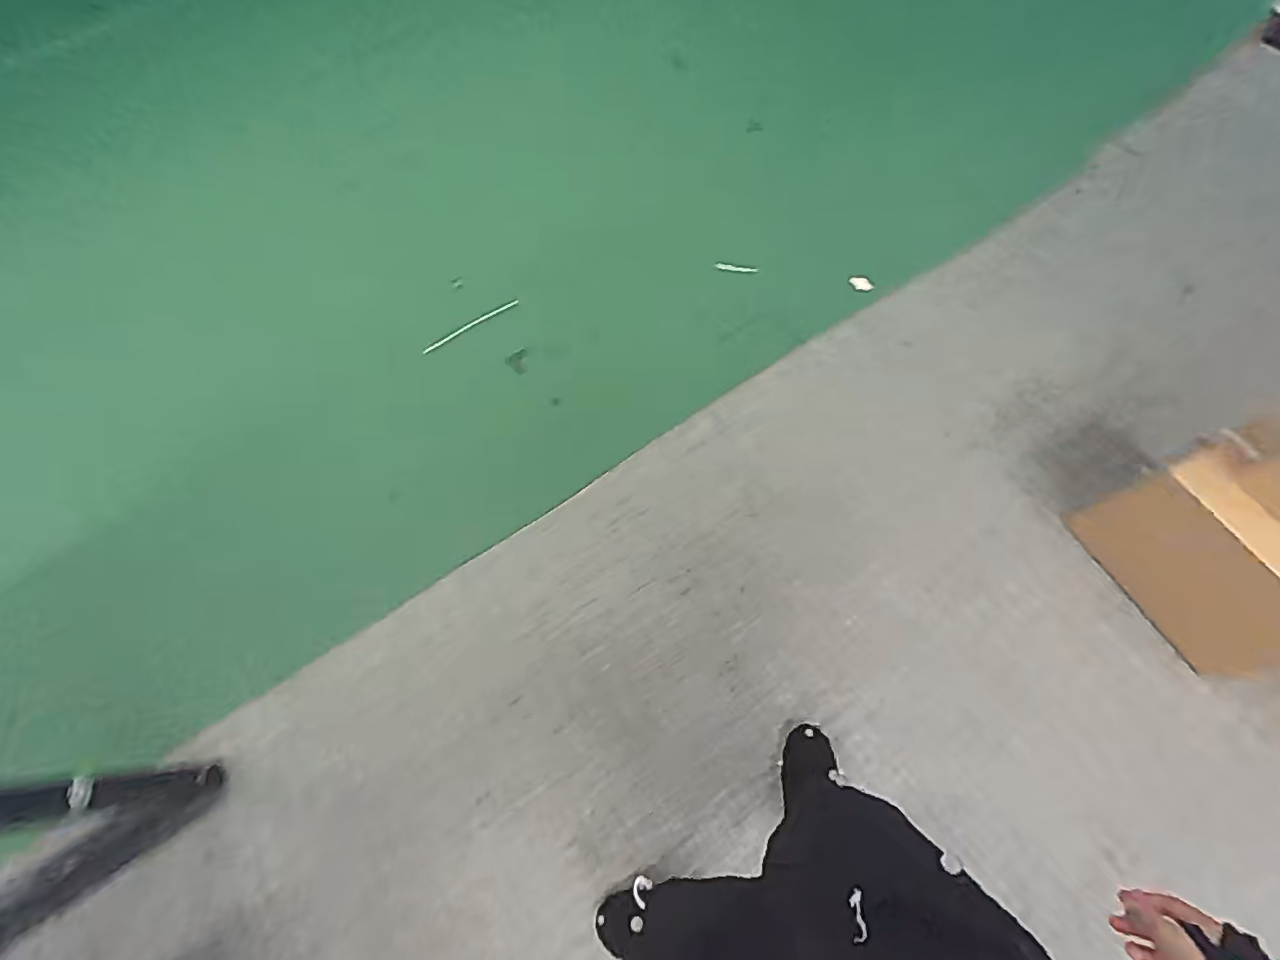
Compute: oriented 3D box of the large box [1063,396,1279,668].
[{"bbox_3d":[1.214,0.116,1.096,0.320,0.320,0.408,-28,69,-7],"label":"large box"}]
